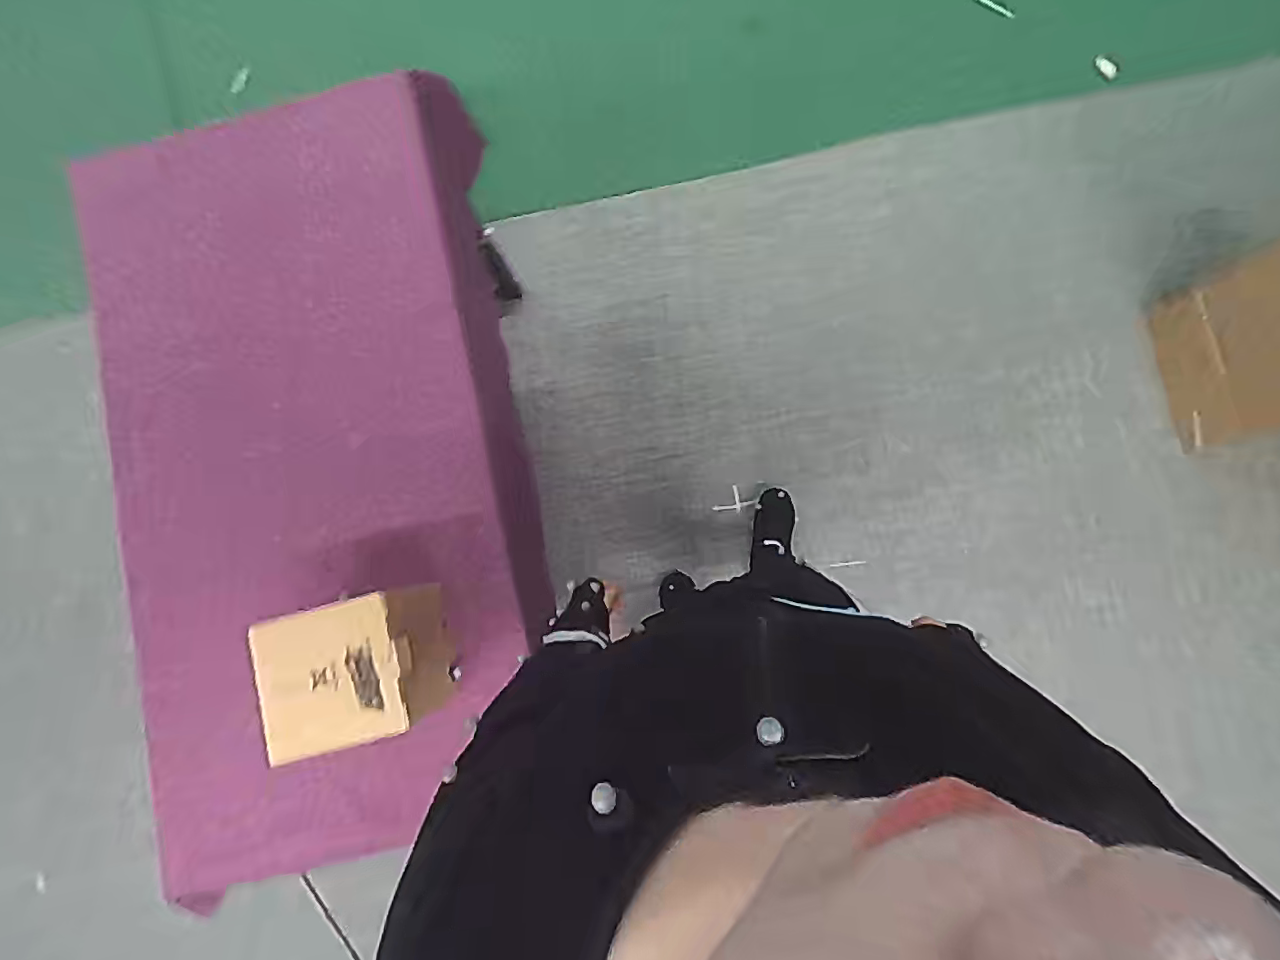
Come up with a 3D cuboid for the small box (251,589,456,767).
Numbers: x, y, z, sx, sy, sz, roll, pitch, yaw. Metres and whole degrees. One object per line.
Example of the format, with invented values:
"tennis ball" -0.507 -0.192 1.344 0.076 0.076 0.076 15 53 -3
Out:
"small box" -0.366 0.250 0.726 0.179 0.176 0.168 -16 82 4
